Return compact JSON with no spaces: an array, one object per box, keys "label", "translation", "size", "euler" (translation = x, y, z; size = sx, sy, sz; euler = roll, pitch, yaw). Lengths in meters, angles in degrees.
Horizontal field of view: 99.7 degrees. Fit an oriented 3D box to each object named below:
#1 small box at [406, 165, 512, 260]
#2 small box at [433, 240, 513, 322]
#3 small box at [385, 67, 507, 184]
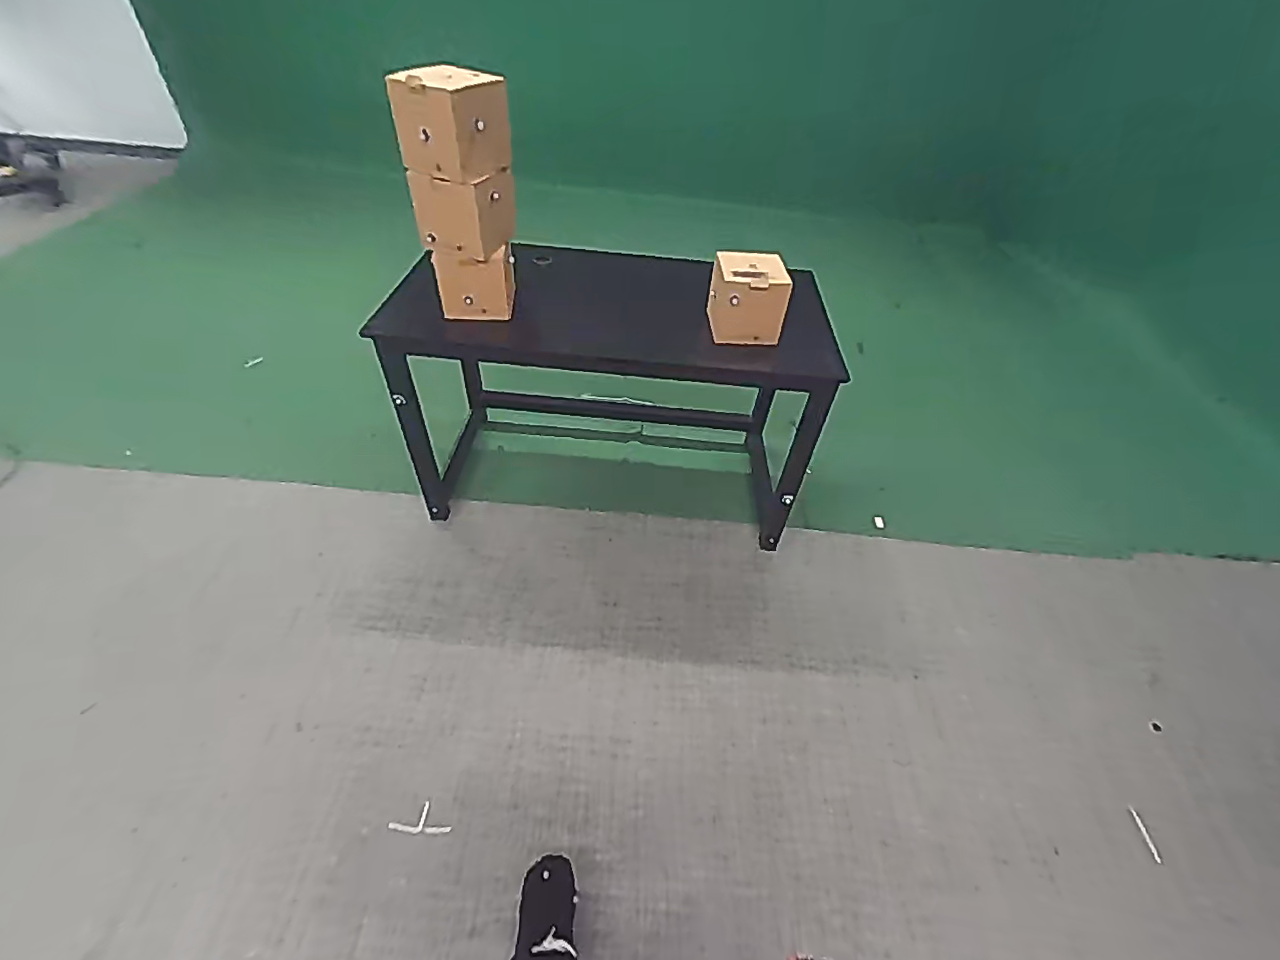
[{"label":"small box","translation":[-0.415,-0.644,1.279],"size":[0.168,0.176,0.179],"euler":[15,46,8]},{"label":"small box","translation":[-0.423,-0.529,1.396],"size":[0.168,0.176,0.179],"euler":[0,47,-7]},{"label":"small box","translation":[-0.405,-0.763,1.166],"size":[0.168,0.176,0.179],"euler":[24,49,15]}]
